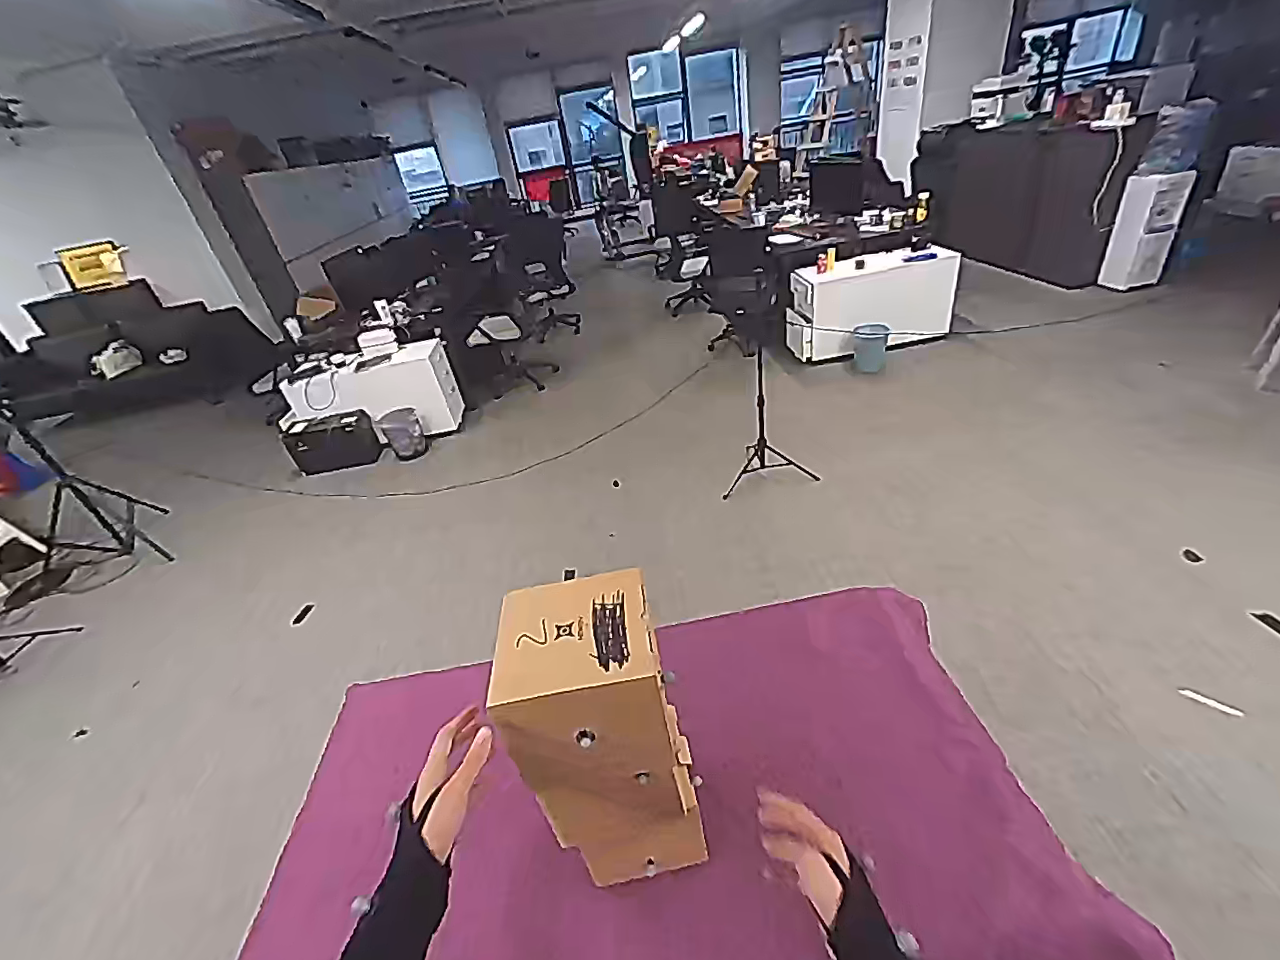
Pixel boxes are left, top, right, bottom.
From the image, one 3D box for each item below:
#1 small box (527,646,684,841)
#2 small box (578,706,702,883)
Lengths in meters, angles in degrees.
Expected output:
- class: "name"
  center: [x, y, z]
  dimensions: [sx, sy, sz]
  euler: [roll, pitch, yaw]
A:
- class: "small box"
  center: [-0.046, 0.364, 0.748]
  dimensions: [0.179, 0.176, 0.168]
  euler: [-12, 32, -2]
- class: "small box"
  center: [-0.003, 0.489, 0.845]
  dimensions: [0.179, 0.176, 0.168]
  euler: [-11, 32, -2]
